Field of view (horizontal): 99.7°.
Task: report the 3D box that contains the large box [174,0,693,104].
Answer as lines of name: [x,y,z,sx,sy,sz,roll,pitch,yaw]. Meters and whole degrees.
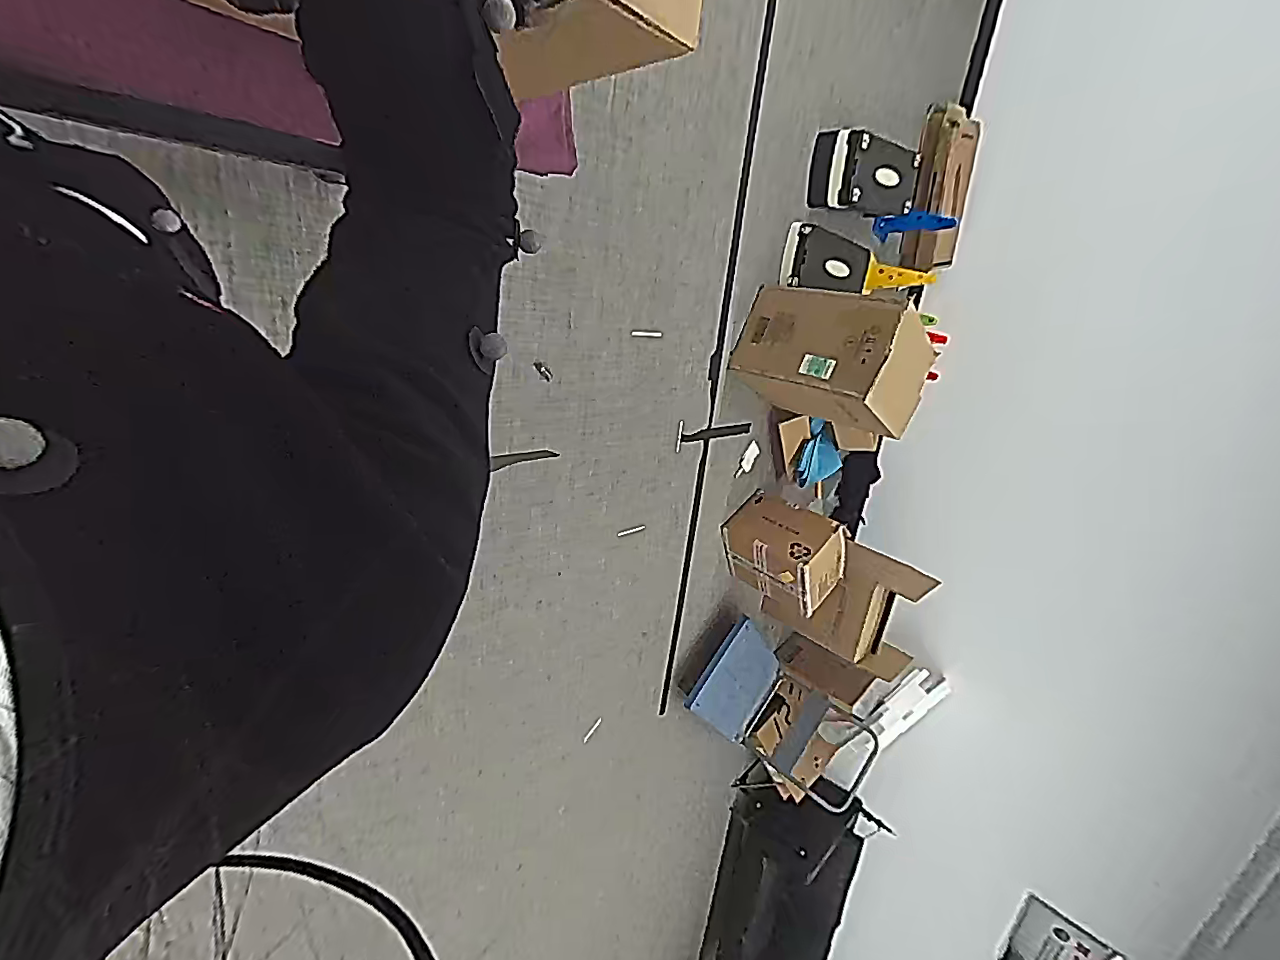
large box: [-0.156,-0.551,0.370,0.320,0.320,0.408,-14,117,-44]
